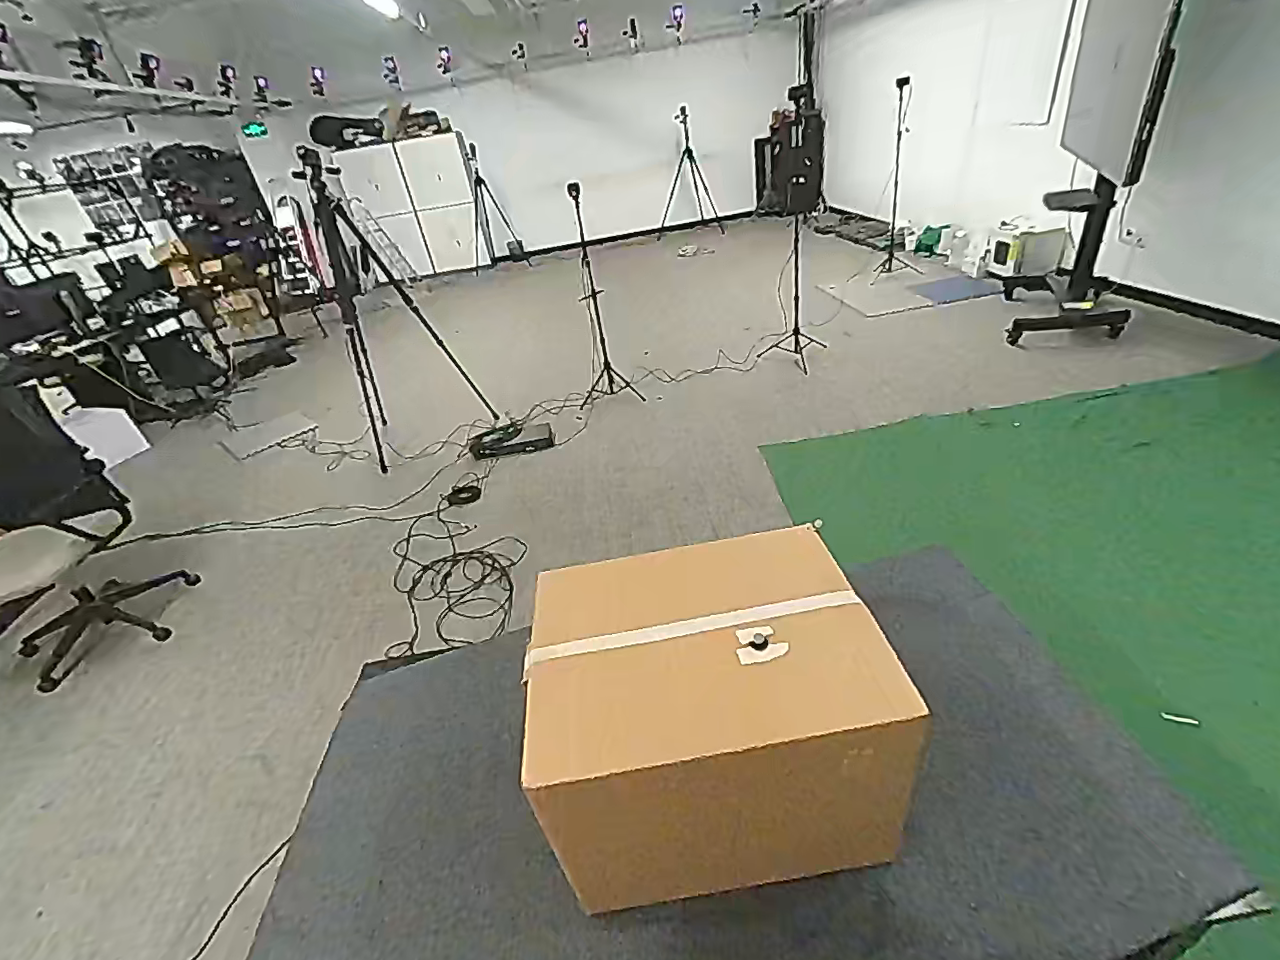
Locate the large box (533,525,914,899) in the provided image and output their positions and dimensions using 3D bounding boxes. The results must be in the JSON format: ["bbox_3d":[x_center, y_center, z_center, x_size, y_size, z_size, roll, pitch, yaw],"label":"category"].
[{"bbox_3d":[0.089,0.305,0.746,0.408,0.320,0.320,-10,33,-1],"label":"large box"}]
